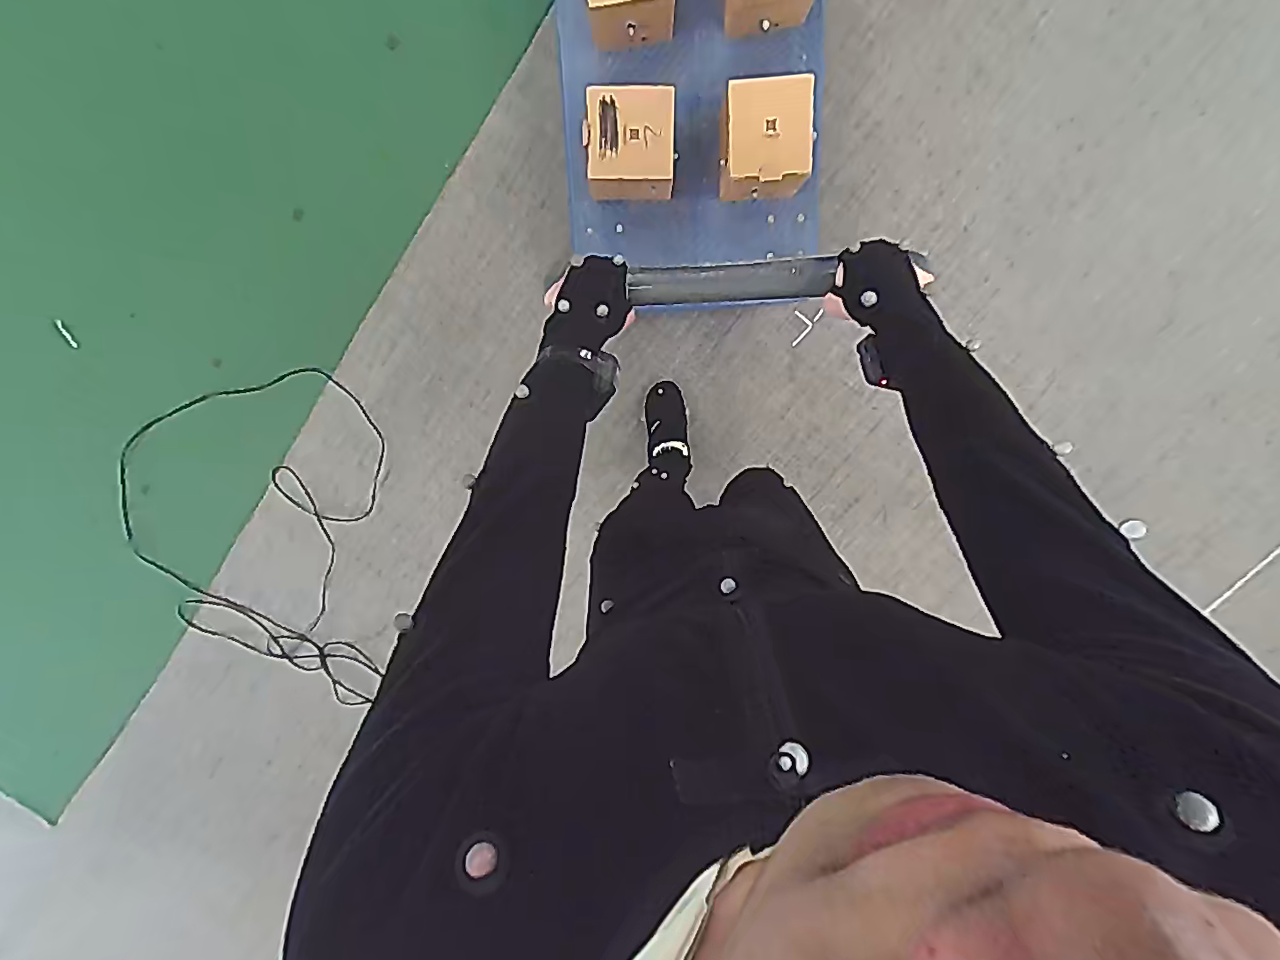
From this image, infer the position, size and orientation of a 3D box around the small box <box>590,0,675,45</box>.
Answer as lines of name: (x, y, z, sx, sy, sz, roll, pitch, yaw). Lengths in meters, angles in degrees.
small box: (-0.019, -0.997, 1.065, 0.168, 0.176, 0.179, -6, 105, 2)

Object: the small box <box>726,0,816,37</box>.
small box: (0.256, -1.016, 1.052, 0.168, 0.176, 0.179, -6, 105, 4)

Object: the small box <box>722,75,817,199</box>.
small box: (0.263, -0.709, 1.135, 0.168, 0.176, 0.179, -3, 105, 2)
